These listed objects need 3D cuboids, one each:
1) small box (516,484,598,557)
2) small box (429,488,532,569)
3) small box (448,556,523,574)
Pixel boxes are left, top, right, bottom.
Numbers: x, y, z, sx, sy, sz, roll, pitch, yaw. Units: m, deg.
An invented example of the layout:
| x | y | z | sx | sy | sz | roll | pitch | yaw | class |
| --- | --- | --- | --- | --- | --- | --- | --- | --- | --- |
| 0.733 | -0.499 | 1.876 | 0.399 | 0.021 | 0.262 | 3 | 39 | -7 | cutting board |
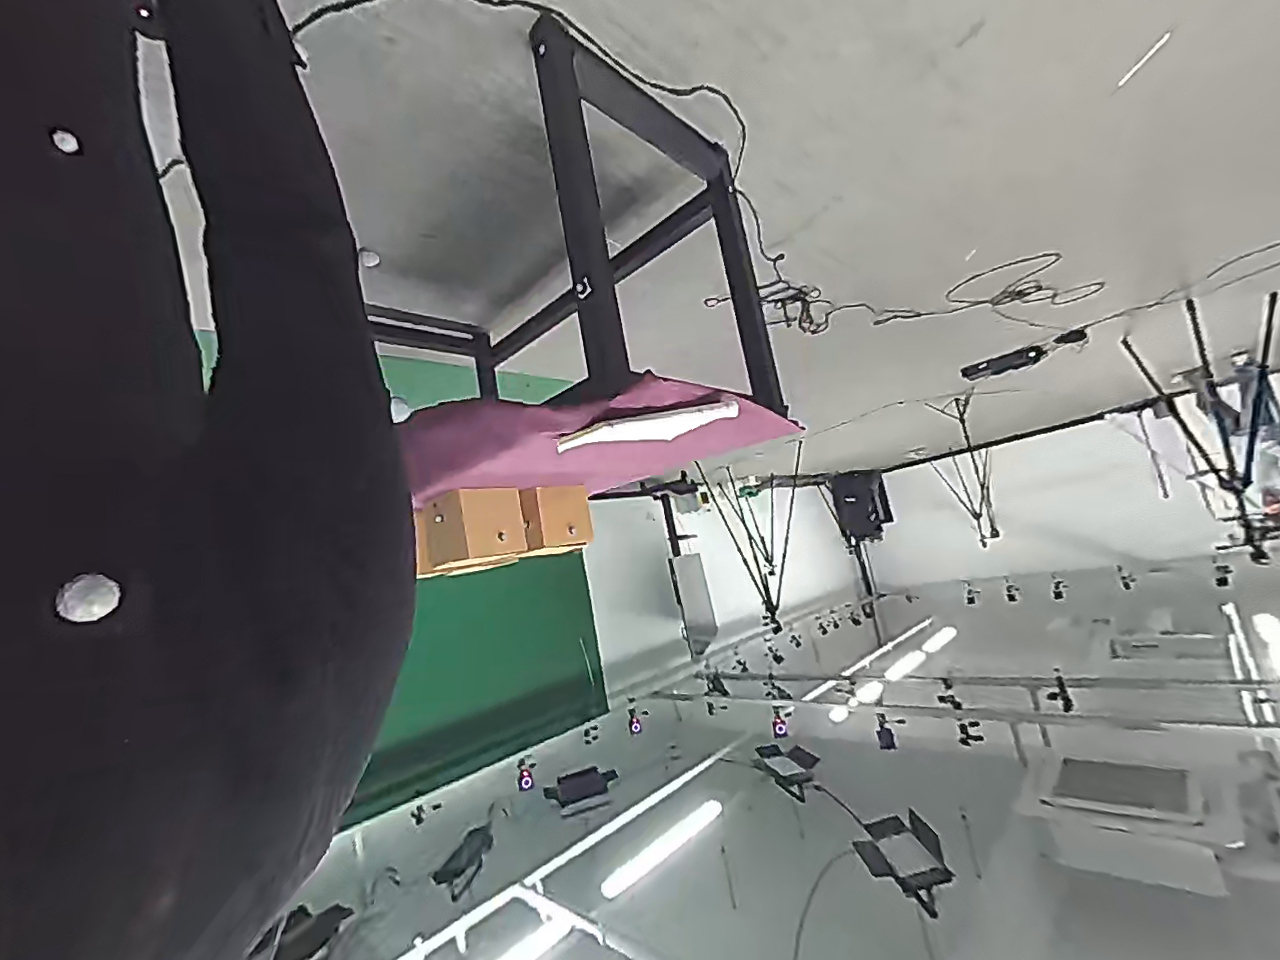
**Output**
| x | y | z | sx | sy | sz | roll | pitch | yaw | class |
| --- | --- | --- | --- | --- | --- | --- | --- | --- | --- |
| -0.246 | 0.112 | 1.515 | 0.168 | 0.176 | 0.179 | -19 | 168 | 42 | small box |
| -0.398 | 0.118 | 1.344 | 0.168 | 0.176 | 0.179 | -18 | 169 | 37 | small box |
| -0.503 | 0.197 | 1.722 | 0.168 | 0.176 | 0.179 | -17 | 169 | 35 | small box |
